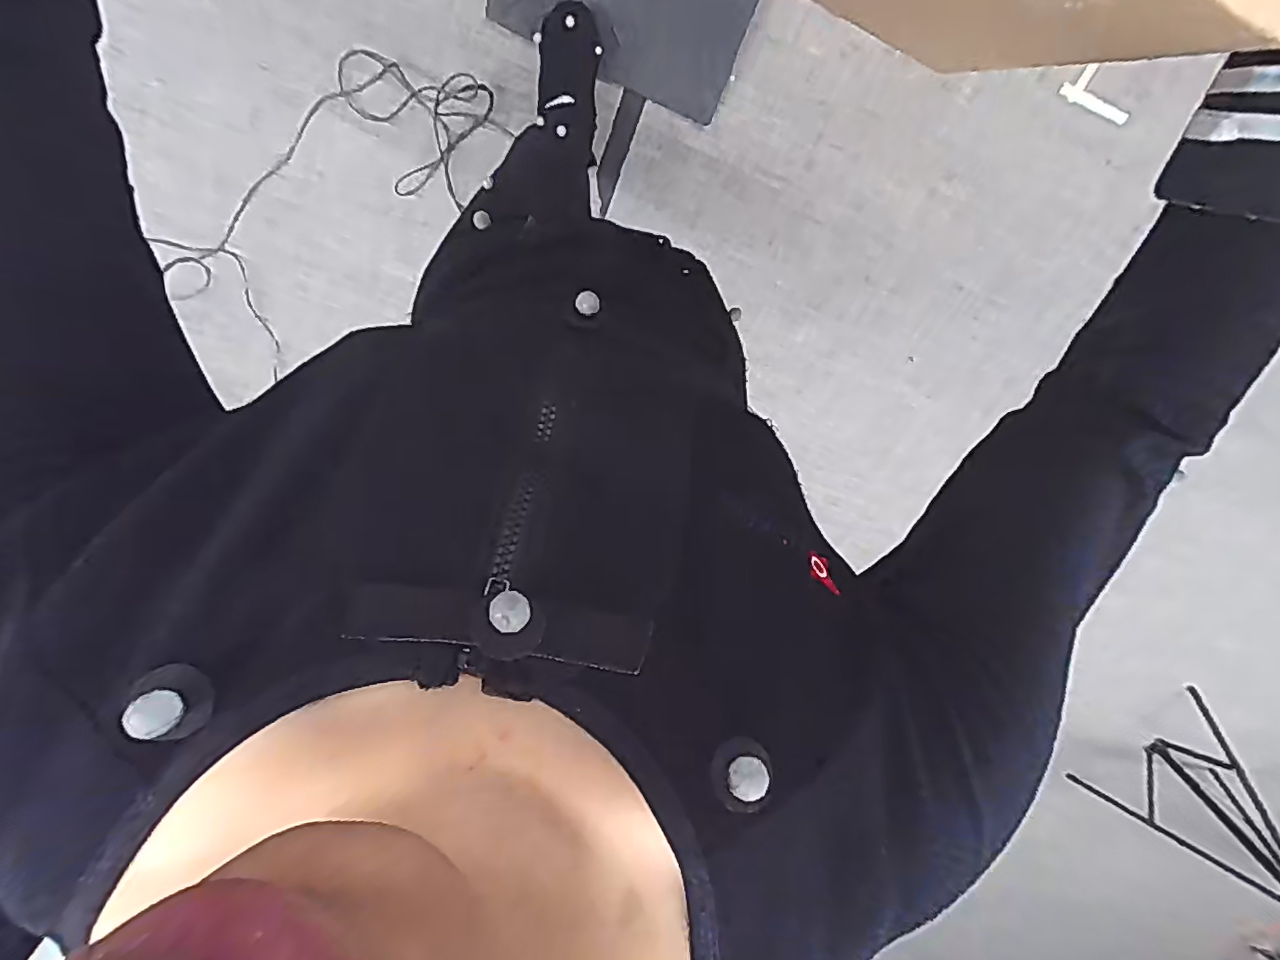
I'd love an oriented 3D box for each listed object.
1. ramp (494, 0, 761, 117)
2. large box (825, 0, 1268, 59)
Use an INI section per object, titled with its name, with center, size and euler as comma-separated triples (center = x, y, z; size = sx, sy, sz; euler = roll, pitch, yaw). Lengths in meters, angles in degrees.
[ramp]
center = 0.114, -1.207, 0.826
size = 0.509, 0.206, 0.991
euler = 17, 118, -11
[large box]
center = 0.120, -0.444, 0.217
size = 0.408, 0.320, 0.320
euler = 19, 124, -11
